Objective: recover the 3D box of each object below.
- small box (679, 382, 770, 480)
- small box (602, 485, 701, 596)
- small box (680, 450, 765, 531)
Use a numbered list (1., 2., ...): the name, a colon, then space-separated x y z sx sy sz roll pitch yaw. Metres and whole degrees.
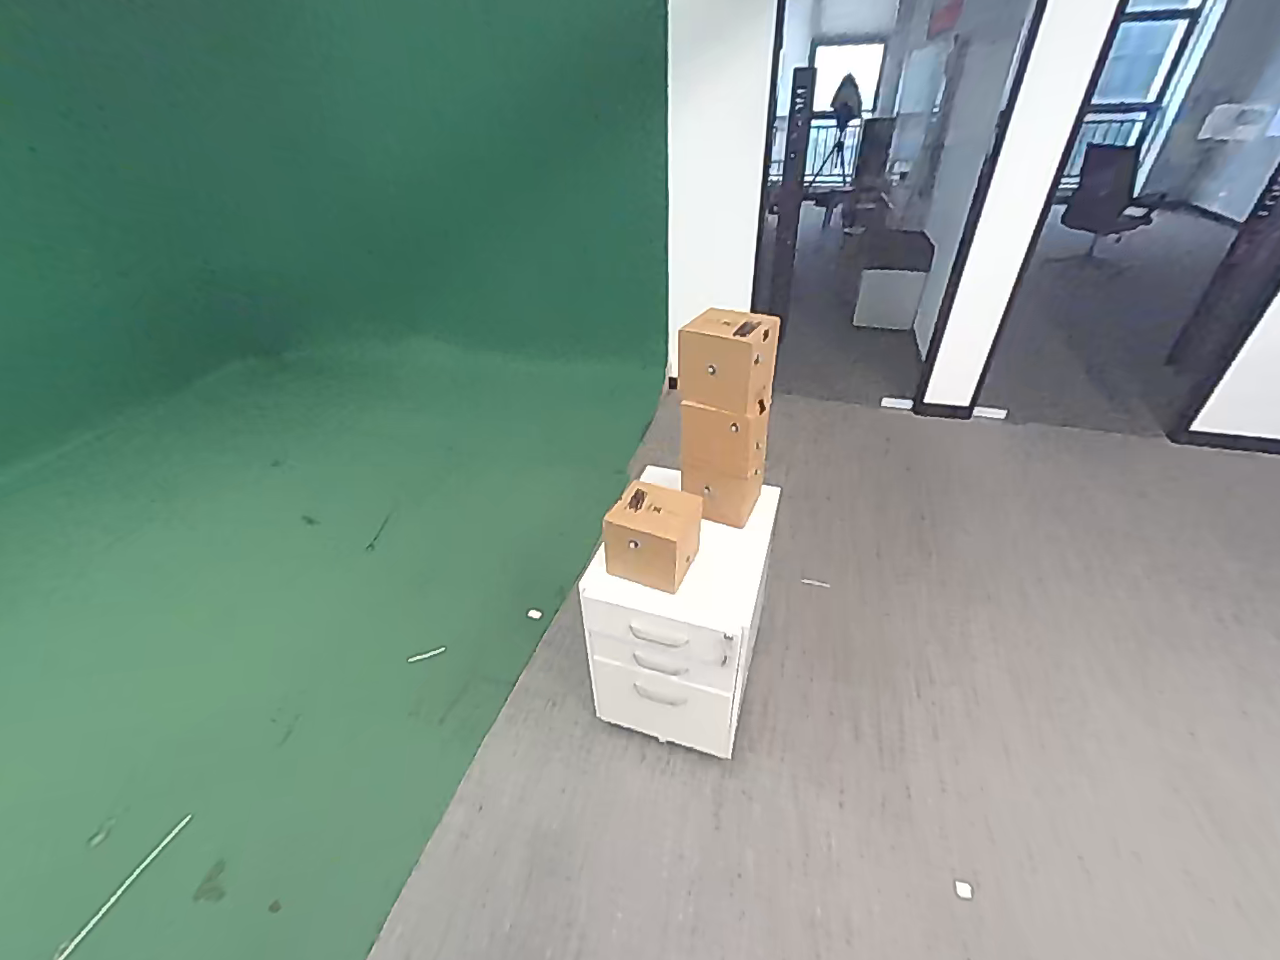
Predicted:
1. small box: 0.204 -0.120 1.323 0.179 0.176 0.168 14 39 21
2. small box: 0.029 0.140 1.246 0.179 0.176 0.168 15 38 20
3. small box: 0.214 0.011 1.419 0.179 0.176 0.168 14 39 22
